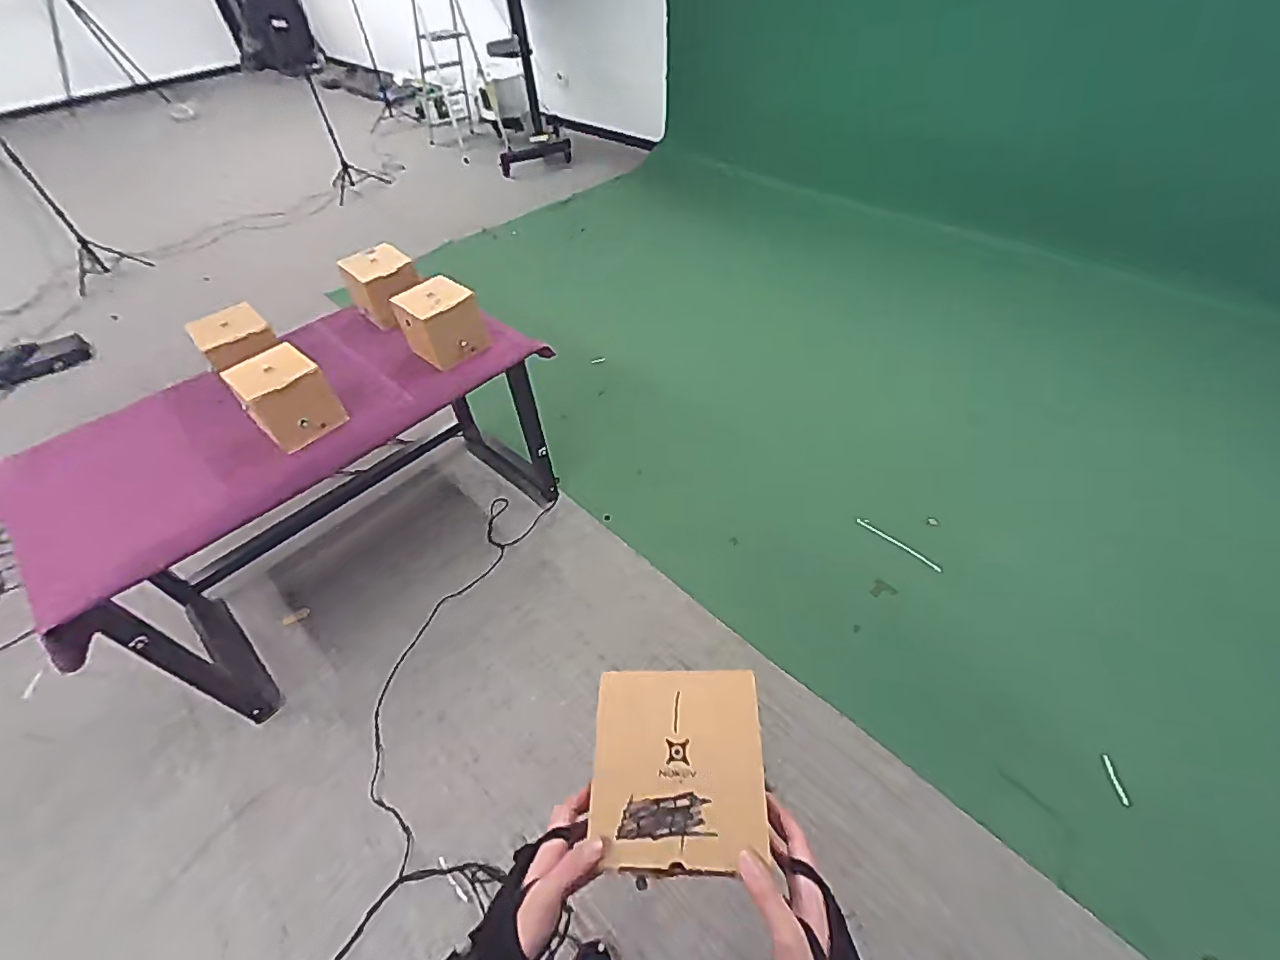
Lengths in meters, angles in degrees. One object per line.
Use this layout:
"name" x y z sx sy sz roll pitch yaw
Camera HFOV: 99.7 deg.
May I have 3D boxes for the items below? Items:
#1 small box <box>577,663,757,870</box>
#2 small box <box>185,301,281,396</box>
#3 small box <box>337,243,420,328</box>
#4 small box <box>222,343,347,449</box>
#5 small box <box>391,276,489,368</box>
"small box" 0.038 0.312 0.586 0.168 0.176 0.179 -3 52 8
"small box" -1.079 -0.352 1.474 0.168 0.176 0.179 -36 56 -26
"small box" -0.786 -0.594 1.668 0.179 0.176 0.168 37 60 27
"small box" -0.866 -0.204 1.329 0.179 0.176 0.168 32 57 28
"small box" -0.556 -0.440 1.516 0.179 0.176 0.168 34 60 30
